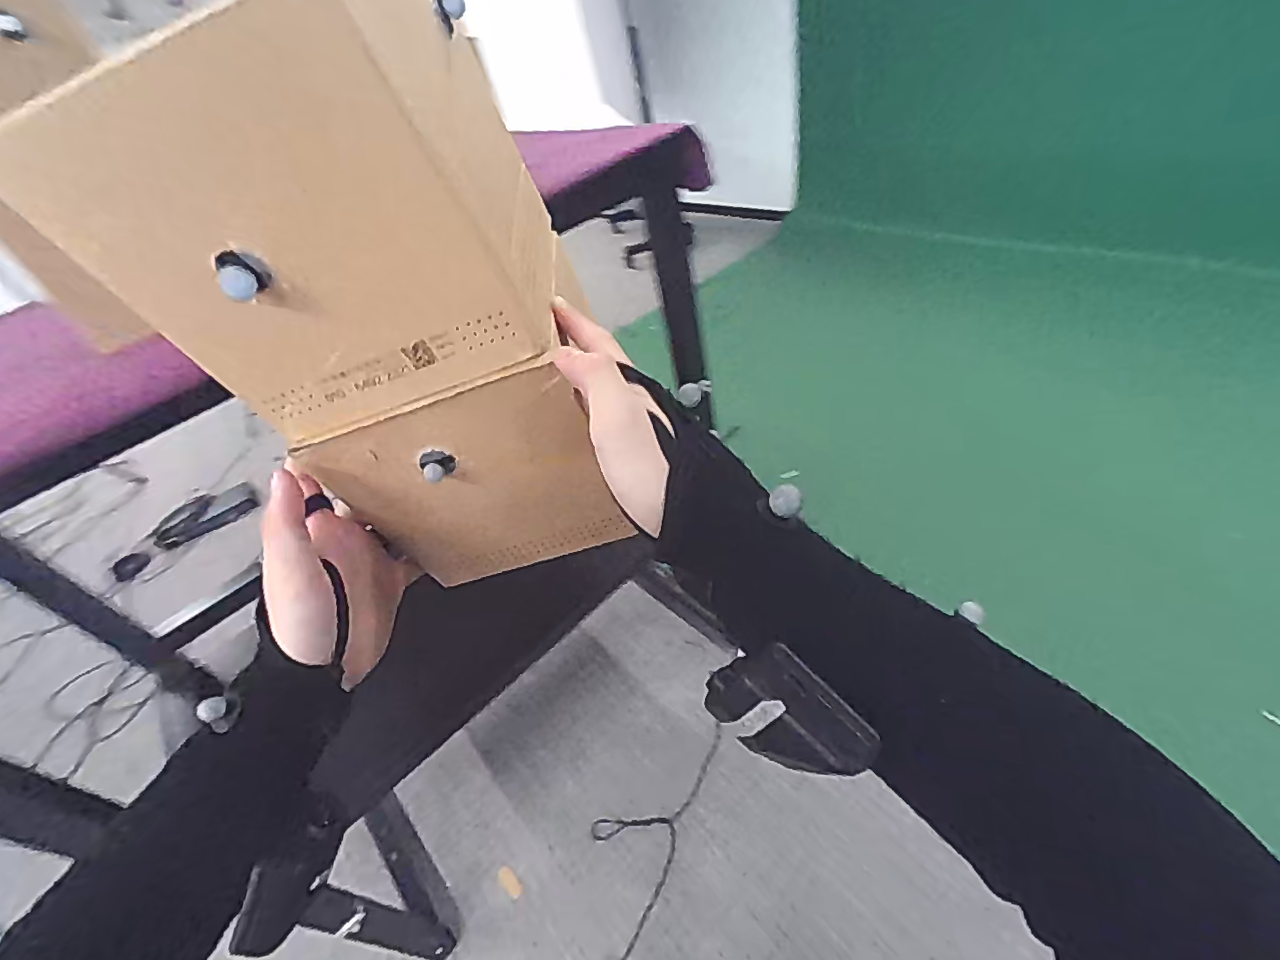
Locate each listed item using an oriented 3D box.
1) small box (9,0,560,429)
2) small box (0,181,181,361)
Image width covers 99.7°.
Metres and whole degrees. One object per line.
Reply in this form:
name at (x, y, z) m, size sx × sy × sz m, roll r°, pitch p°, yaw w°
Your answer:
small box at (-0.156, -0.150, 0.313) m, size 0.168 × 0.176 × 0.179 m, roll -17°, pitch 45°, yaw 12°
small box at (-0.576, -0.262, 0.612) m, size 0.179 × 0.176 × 0.168 m, roll -39°, pitch 45°, yaw -23°
